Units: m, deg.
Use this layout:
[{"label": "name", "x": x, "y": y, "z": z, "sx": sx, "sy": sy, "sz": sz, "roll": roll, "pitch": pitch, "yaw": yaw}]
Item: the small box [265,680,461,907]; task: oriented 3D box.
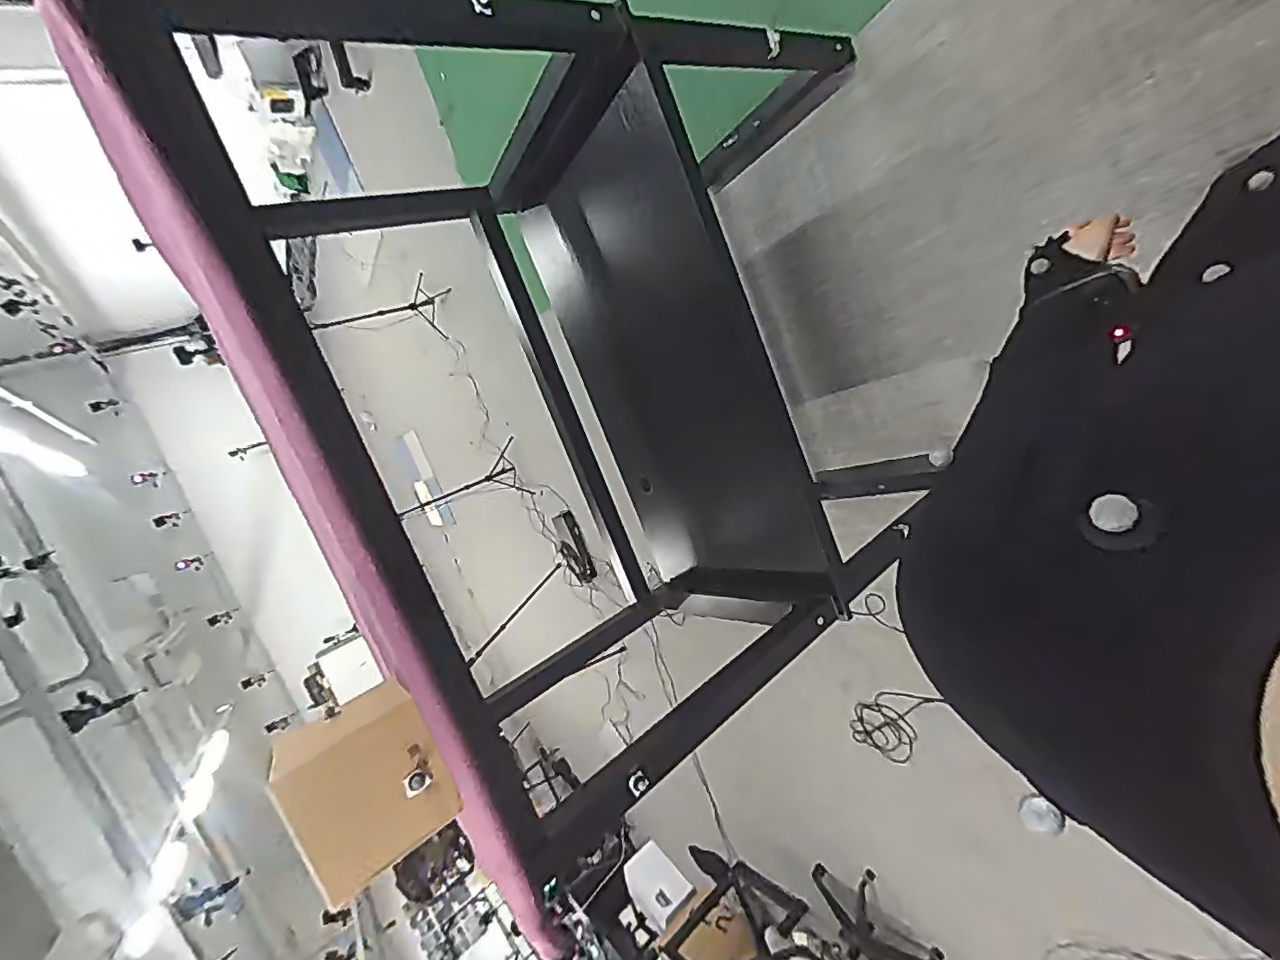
[{"label": "small box", "x": -0.356, "y": 0.386, "z": 0.707, "sx": 0.179, "sy": 0.176, "sz": 0.168, "roll": -18, "pitch": 97, "yaw": 56}]
